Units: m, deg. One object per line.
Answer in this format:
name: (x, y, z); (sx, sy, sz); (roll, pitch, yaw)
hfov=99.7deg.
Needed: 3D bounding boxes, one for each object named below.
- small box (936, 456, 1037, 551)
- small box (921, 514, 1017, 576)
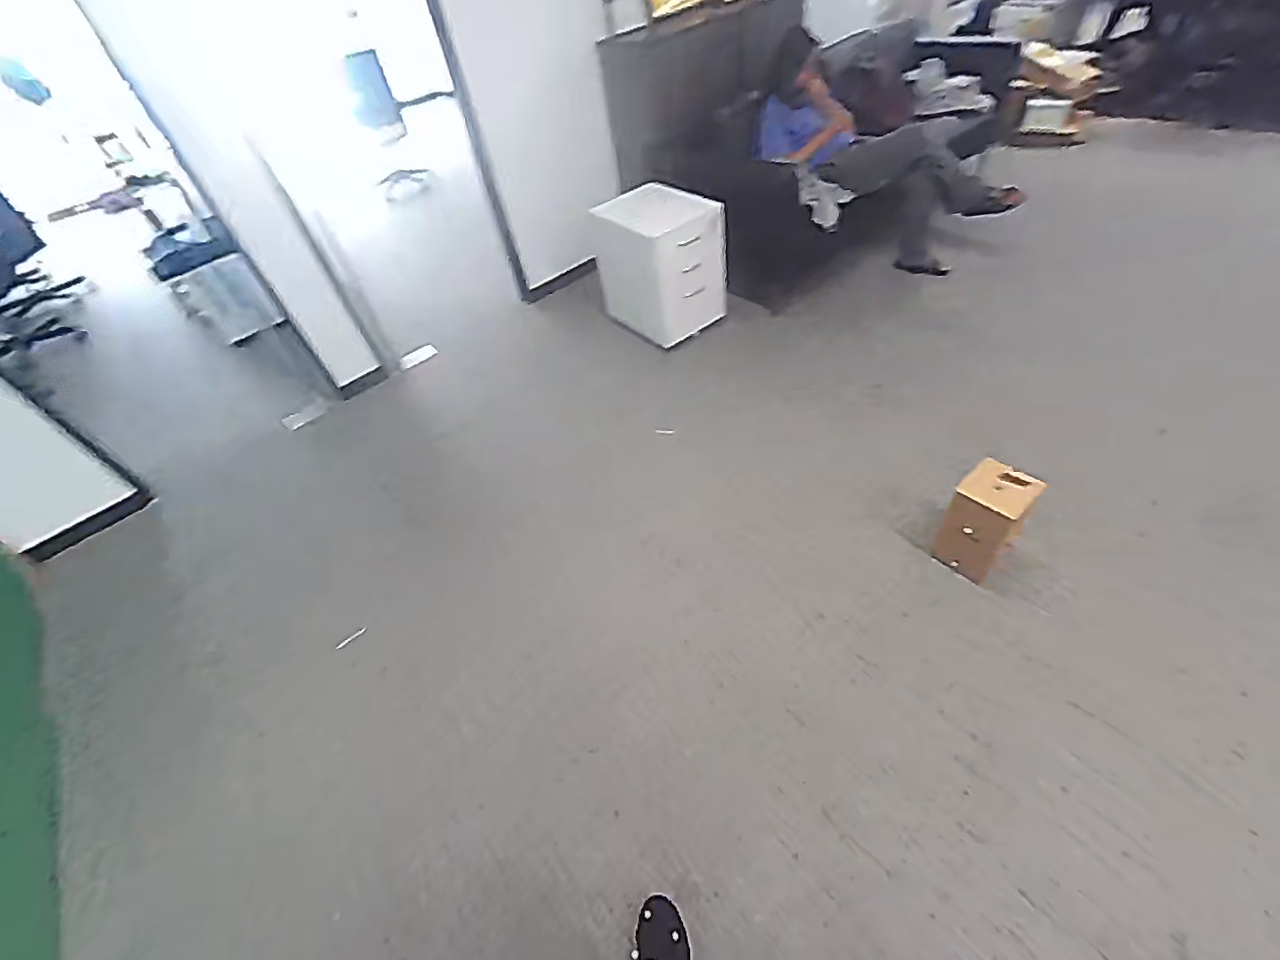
small box: (0.992, 0.068, 1.563); (0.179, 0.176, 0.168); (-36, 51, -21)
small box: (1.019, 0.175, 1.686); (0.168, 0.176, 0.179); (-34, 51, -21)
